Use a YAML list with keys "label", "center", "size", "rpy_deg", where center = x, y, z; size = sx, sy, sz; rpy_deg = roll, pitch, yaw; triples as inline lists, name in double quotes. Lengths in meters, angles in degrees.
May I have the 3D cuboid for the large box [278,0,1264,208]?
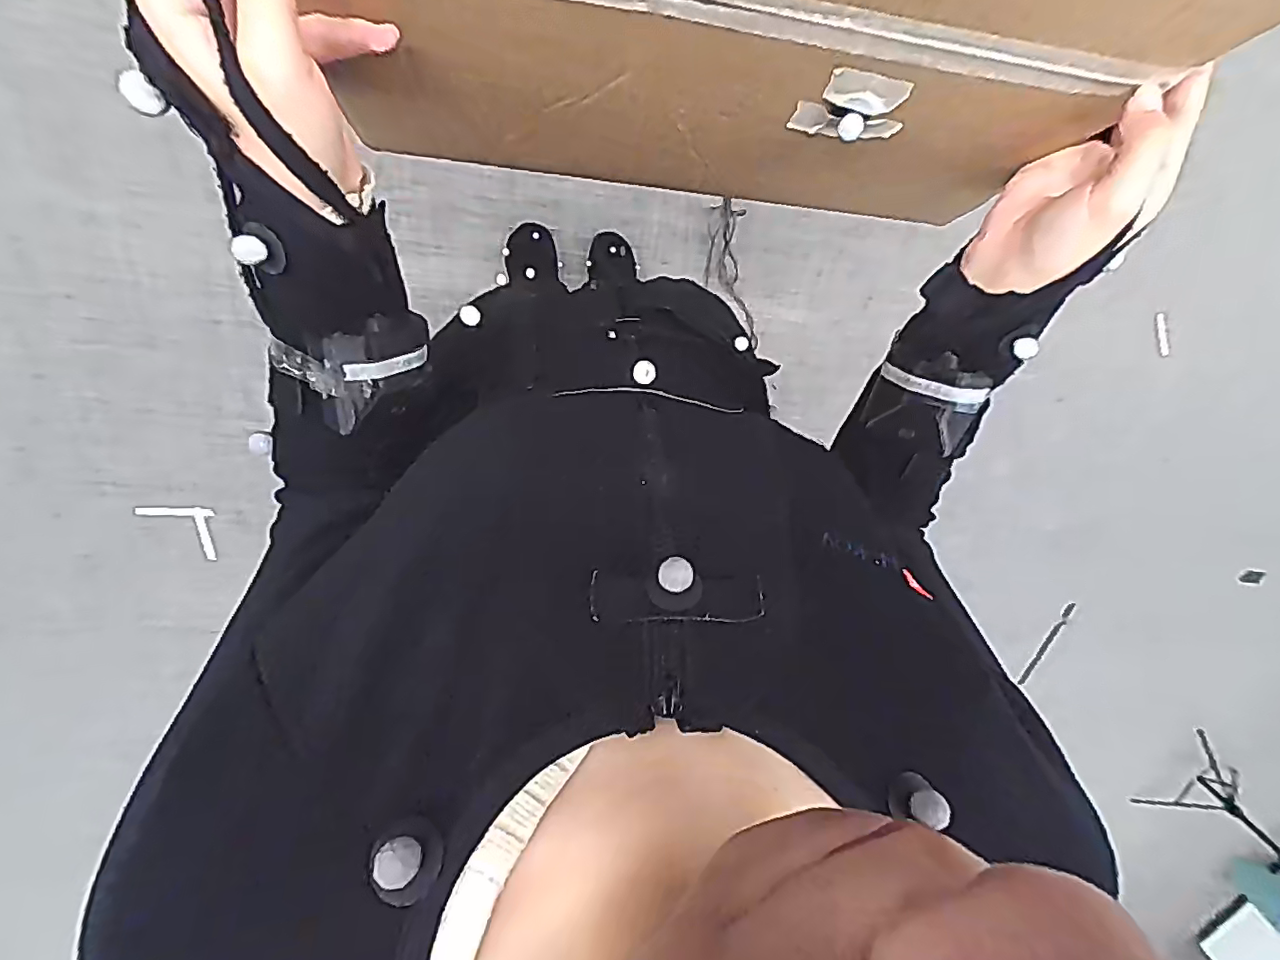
- label: "large box"
  center: [0.048, -0.351, 0.221]
  size: [0.408, 0.320, 0.320]
  rpy_deg: [1, 93, -9]
